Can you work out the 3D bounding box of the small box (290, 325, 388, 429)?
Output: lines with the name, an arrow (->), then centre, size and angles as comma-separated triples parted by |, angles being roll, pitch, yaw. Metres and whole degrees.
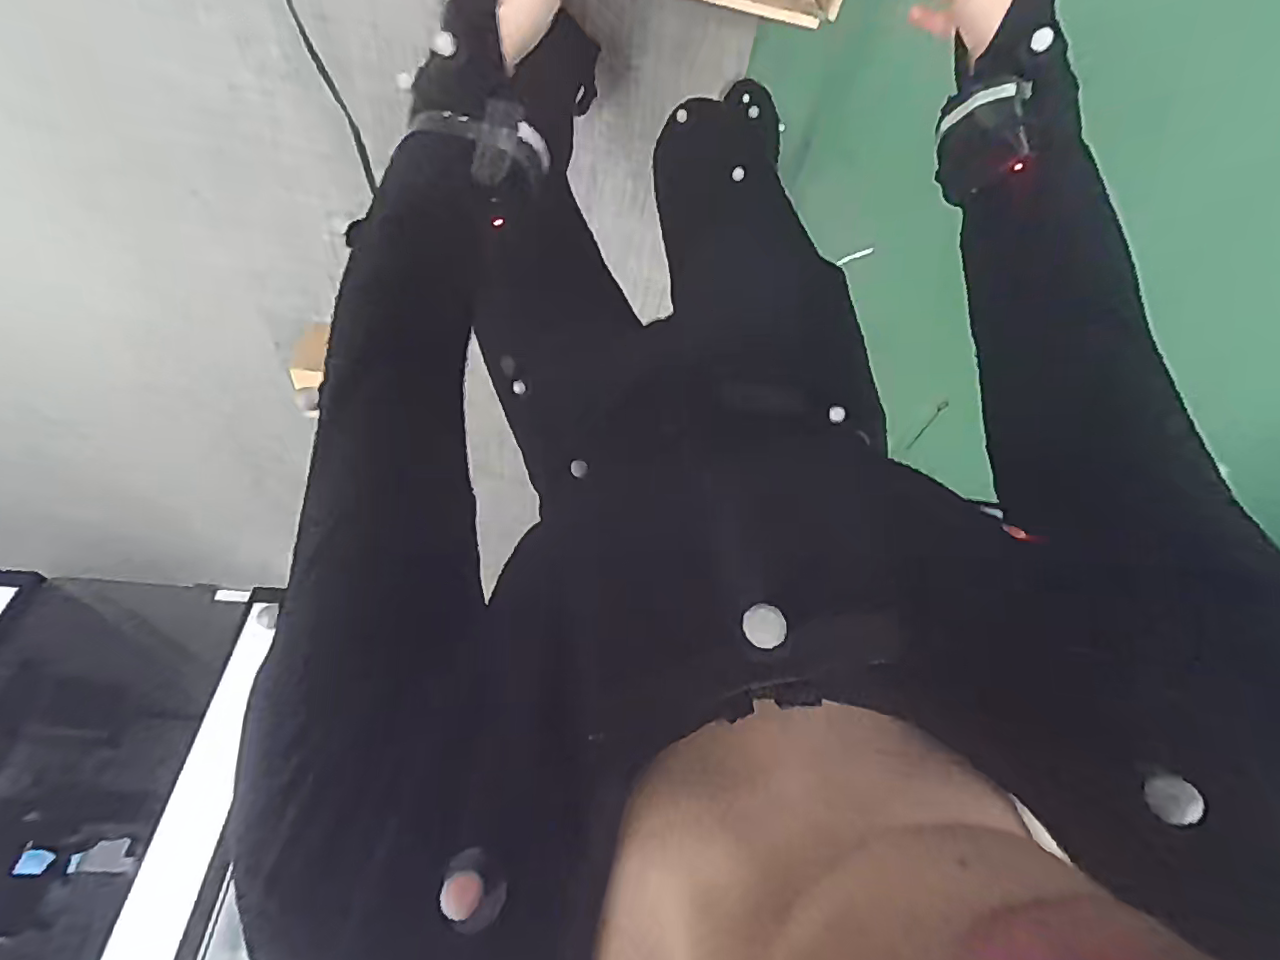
small box -> -0.753, -0.259, 1.373 | 0.168, 0.176, 0.179 | 9, 144, -13
